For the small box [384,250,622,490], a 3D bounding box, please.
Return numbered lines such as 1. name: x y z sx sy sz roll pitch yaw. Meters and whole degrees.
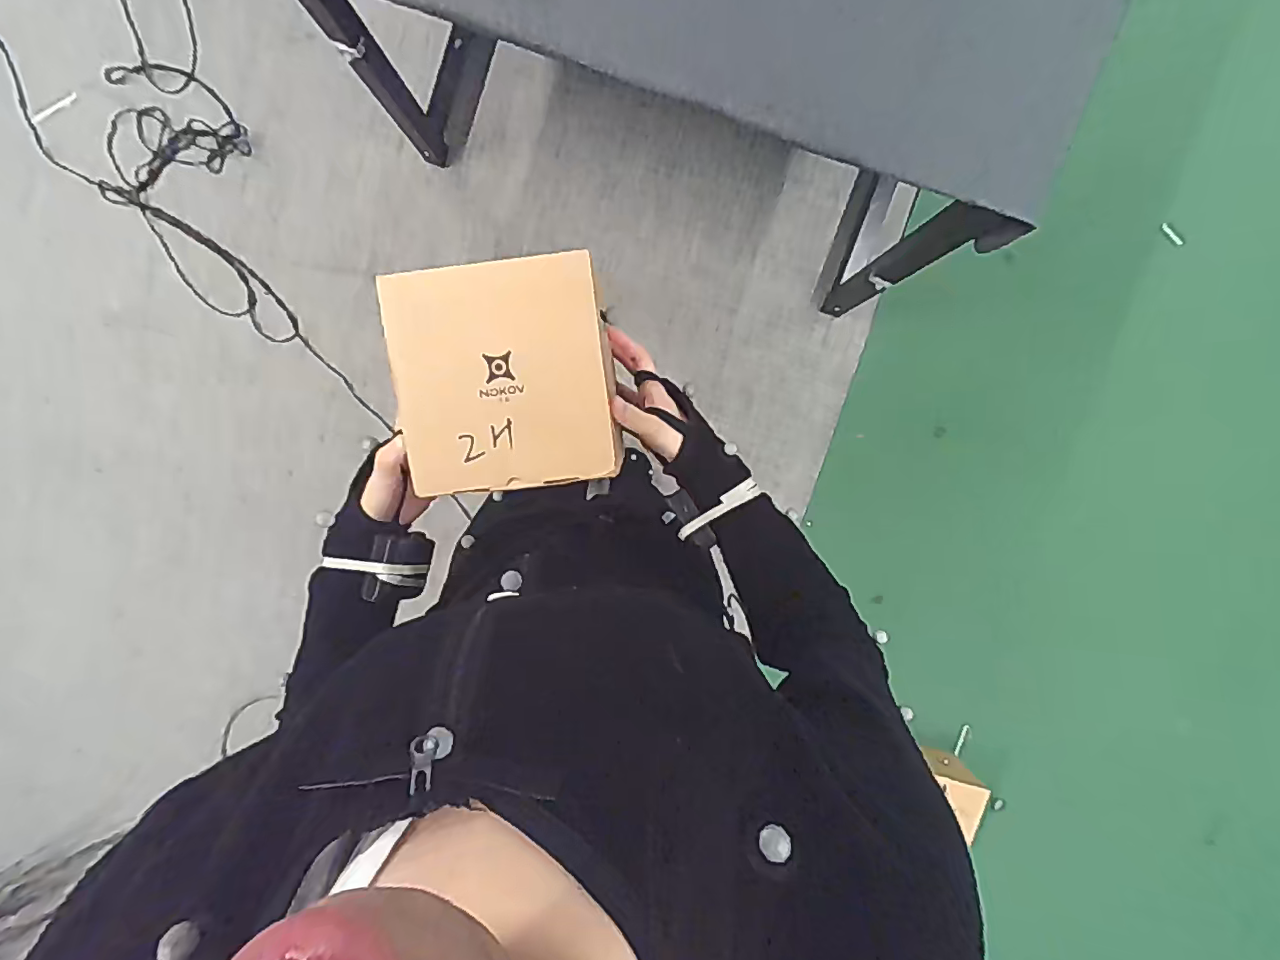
1. small box: -0.108 -0.094 0.504 0.168 0.176 0.179 -6 98 2
